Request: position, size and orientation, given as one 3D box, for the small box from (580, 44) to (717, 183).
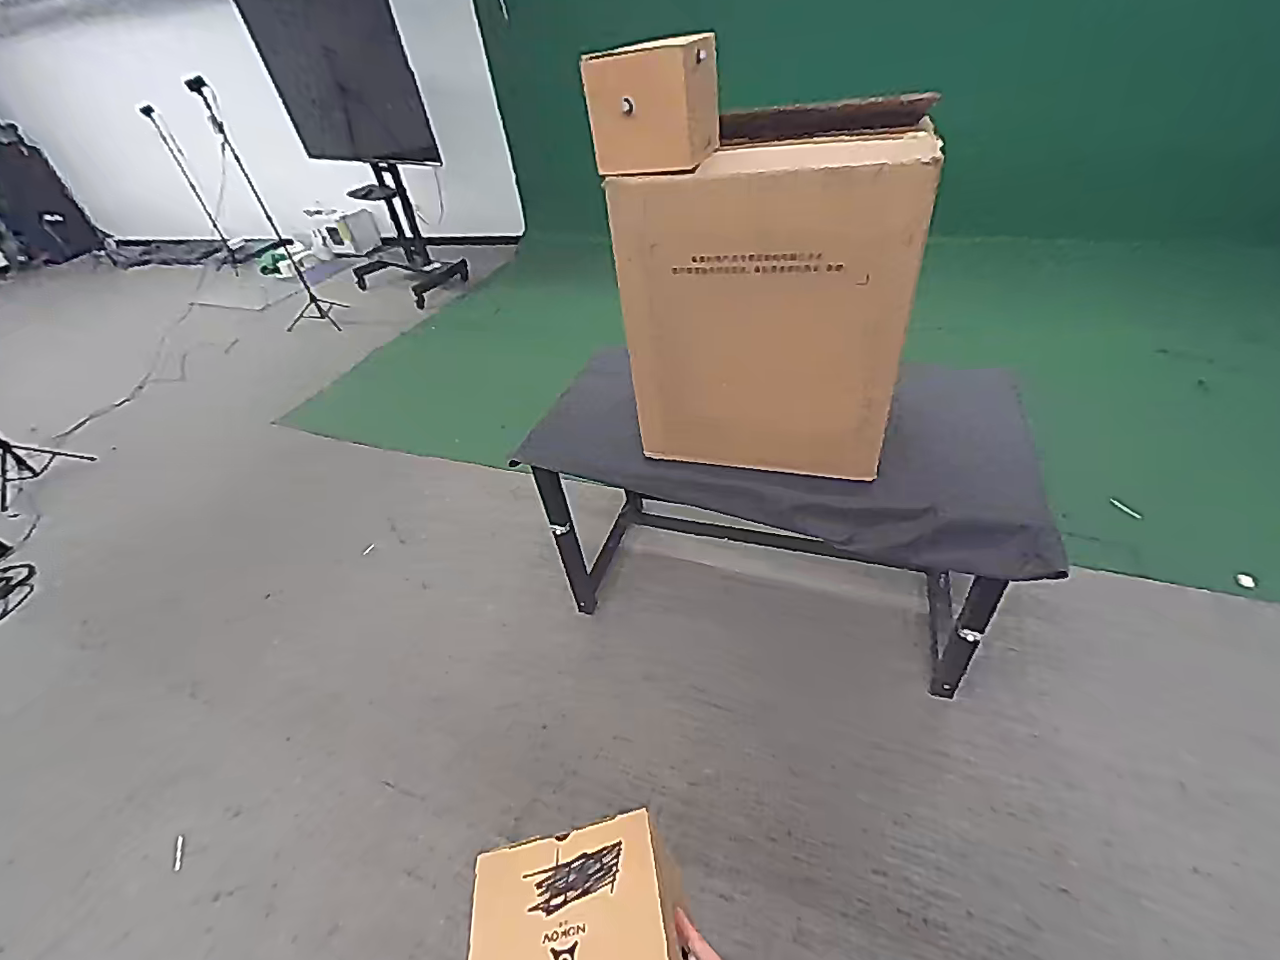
[{"bbox_3d":[0.024,-0.626,0.934,0.179,0.176,0.168,9,44,22],"label":"small box"}]
